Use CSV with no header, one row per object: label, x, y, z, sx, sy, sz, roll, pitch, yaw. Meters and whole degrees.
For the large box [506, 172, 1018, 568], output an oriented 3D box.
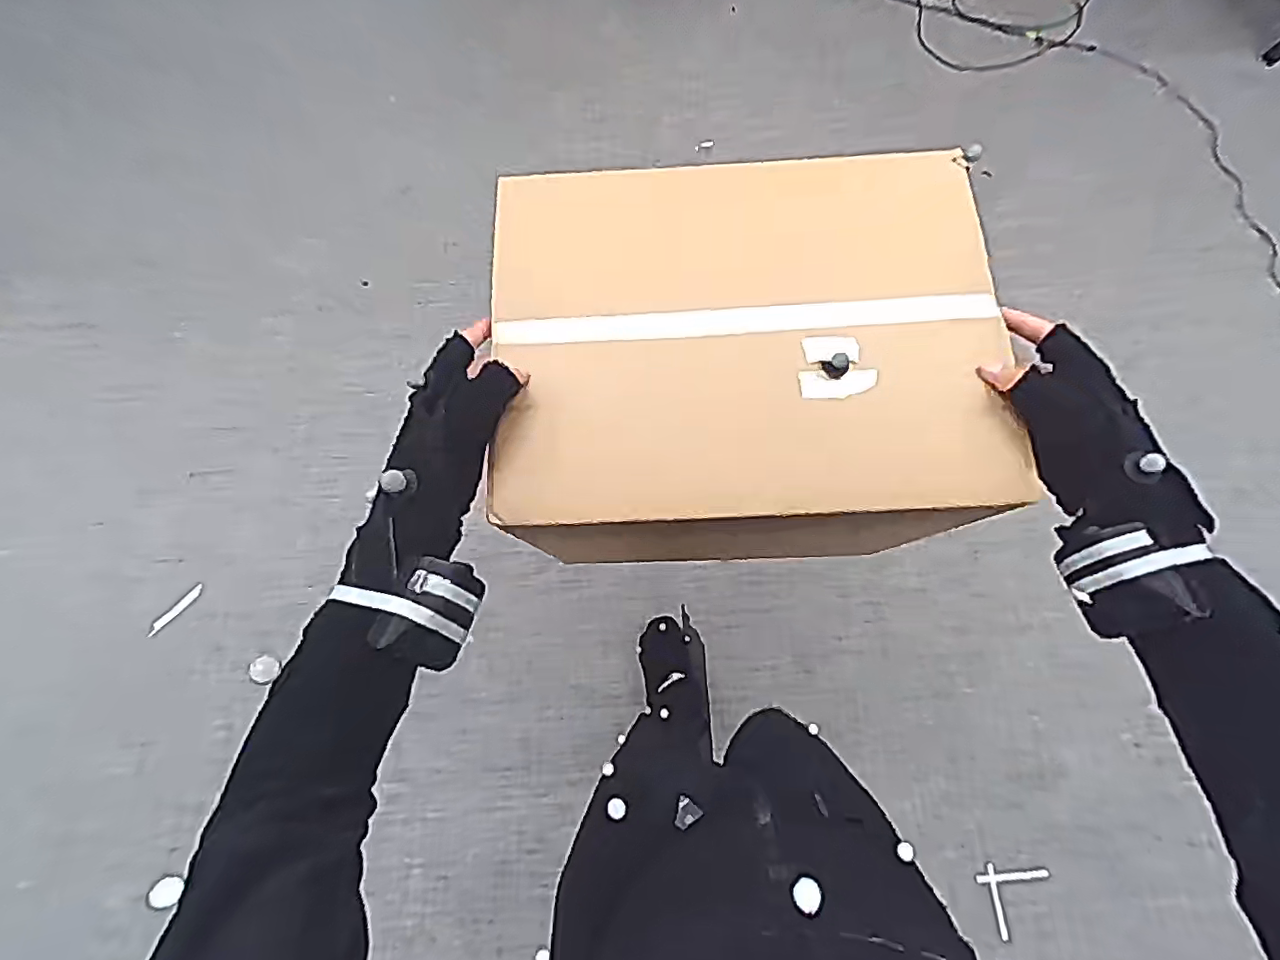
large box,0.088,-0.082,0.595,0.408,0.320,0.320,-3,76,1
